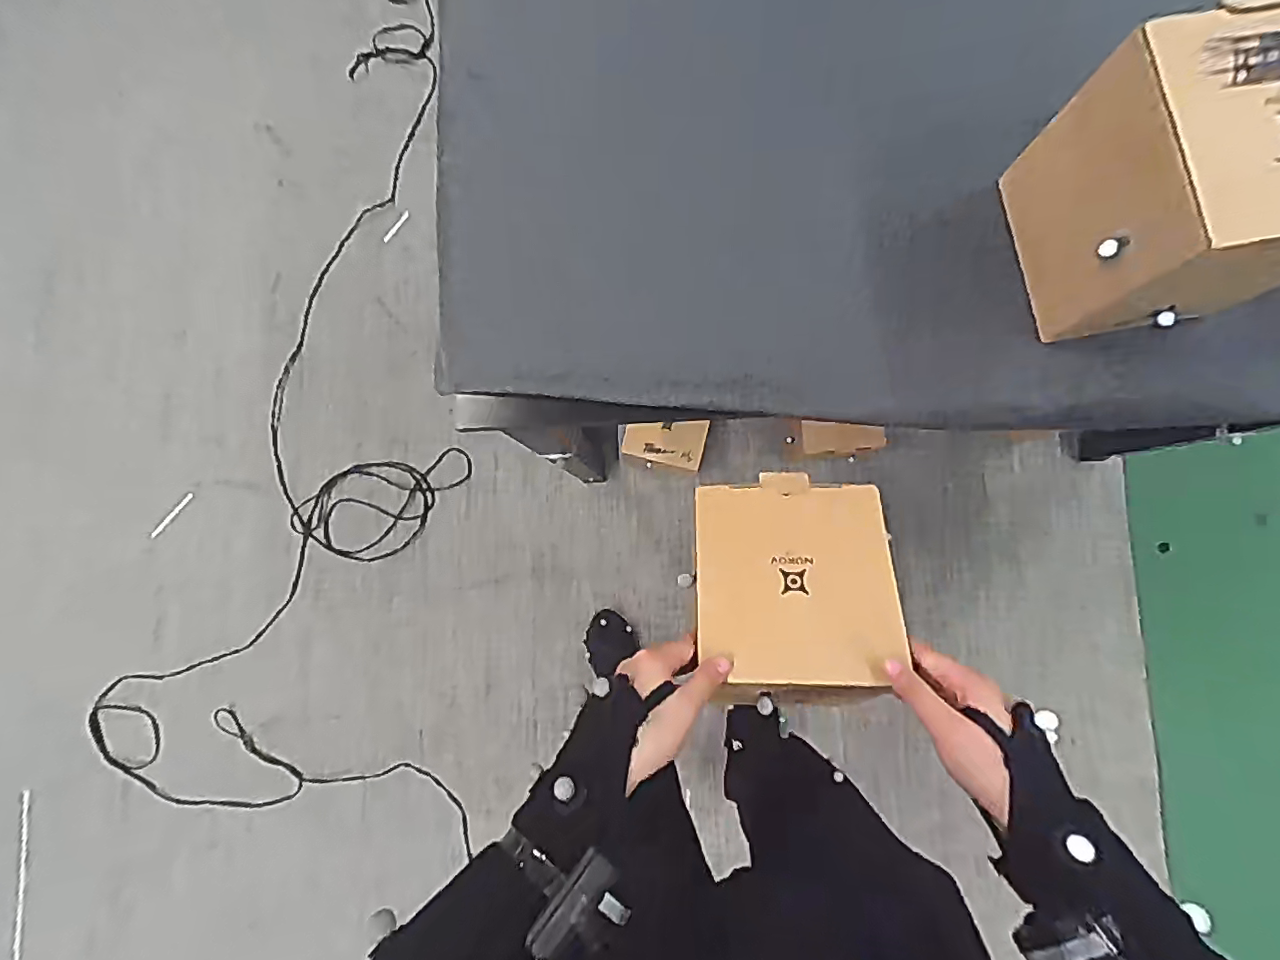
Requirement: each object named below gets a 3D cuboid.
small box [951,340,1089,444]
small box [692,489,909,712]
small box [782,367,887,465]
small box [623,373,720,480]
[{"bbox_3d":[0.795,-0.178,1.149,0.179,0.176,0.168,11,85,3],"label":"small box"},{"bbox_3d":[0.134,0.123,0.523,0.168,0.176,0.179,0,61,5],"label":"small box"},{"bbox_3d":[0.411,-0.129,1.166,0.168,0.176,0.179,-4,83,2],"label":"small box"},{"bbox_3d":[0.067,-0.109,1.183,0.168,0.176,0.179,15,85,5],"label":"small box"}]
